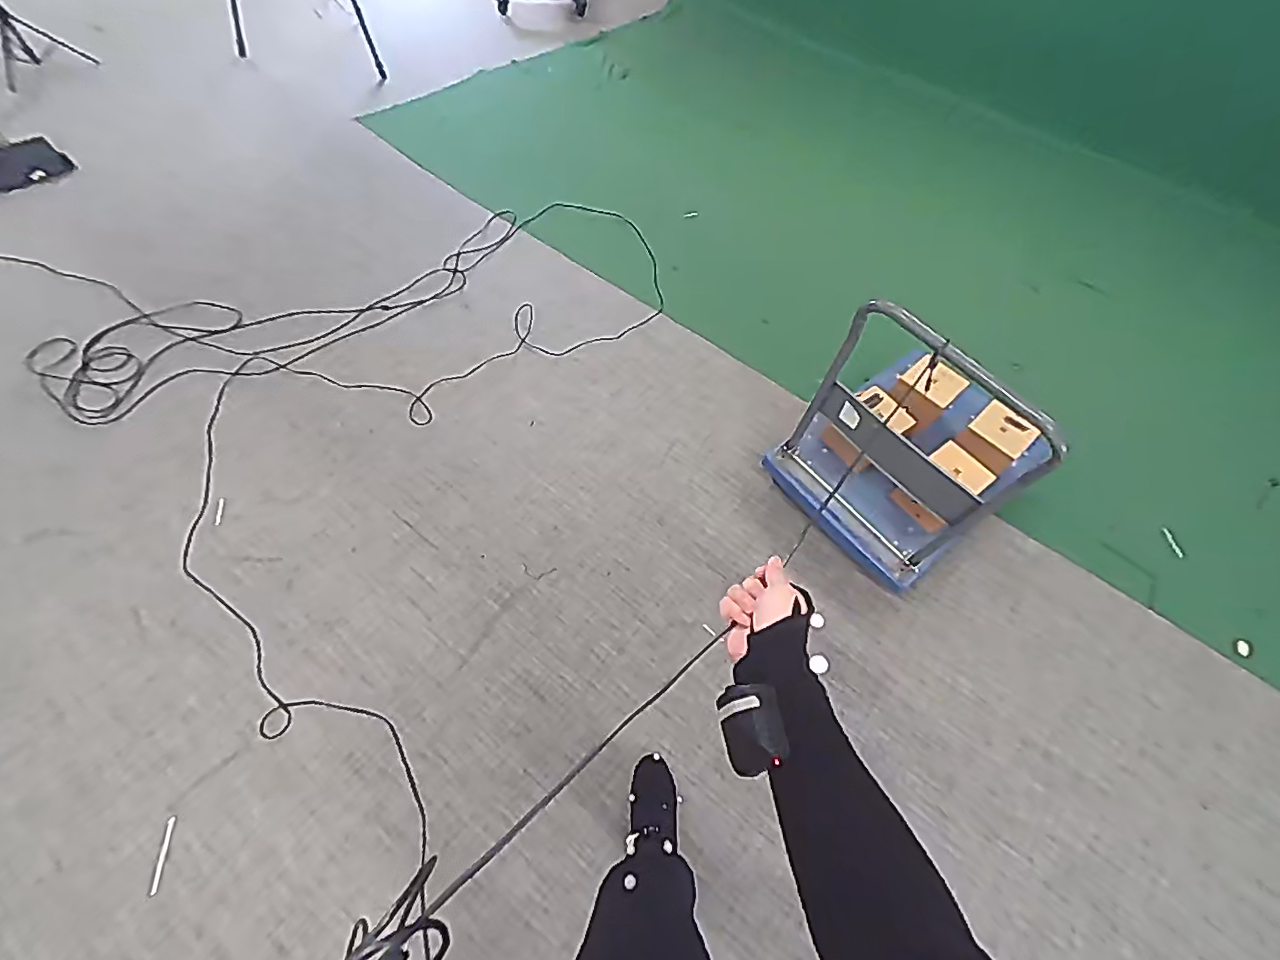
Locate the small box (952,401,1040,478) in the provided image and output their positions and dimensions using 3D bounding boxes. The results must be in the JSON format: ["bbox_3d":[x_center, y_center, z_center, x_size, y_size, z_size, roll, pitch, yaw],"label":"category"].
[{"bbox_3d":[1.115,-0.114,1.729,0.179,0.176,0.168,-37,67,-24],"label":"small box"}]

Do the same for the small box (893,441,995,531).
[{"bbox_3d":[0.904,0.021,1.626,0.179,0.176,0.168,-32,66,-22],"label":"small box"}]

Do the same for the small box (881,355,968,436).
[{"bbox_3d":[0.945,-0.279,1.815,0.179,0.176,0.168,-36,69,-24],"label":"small box"}]
